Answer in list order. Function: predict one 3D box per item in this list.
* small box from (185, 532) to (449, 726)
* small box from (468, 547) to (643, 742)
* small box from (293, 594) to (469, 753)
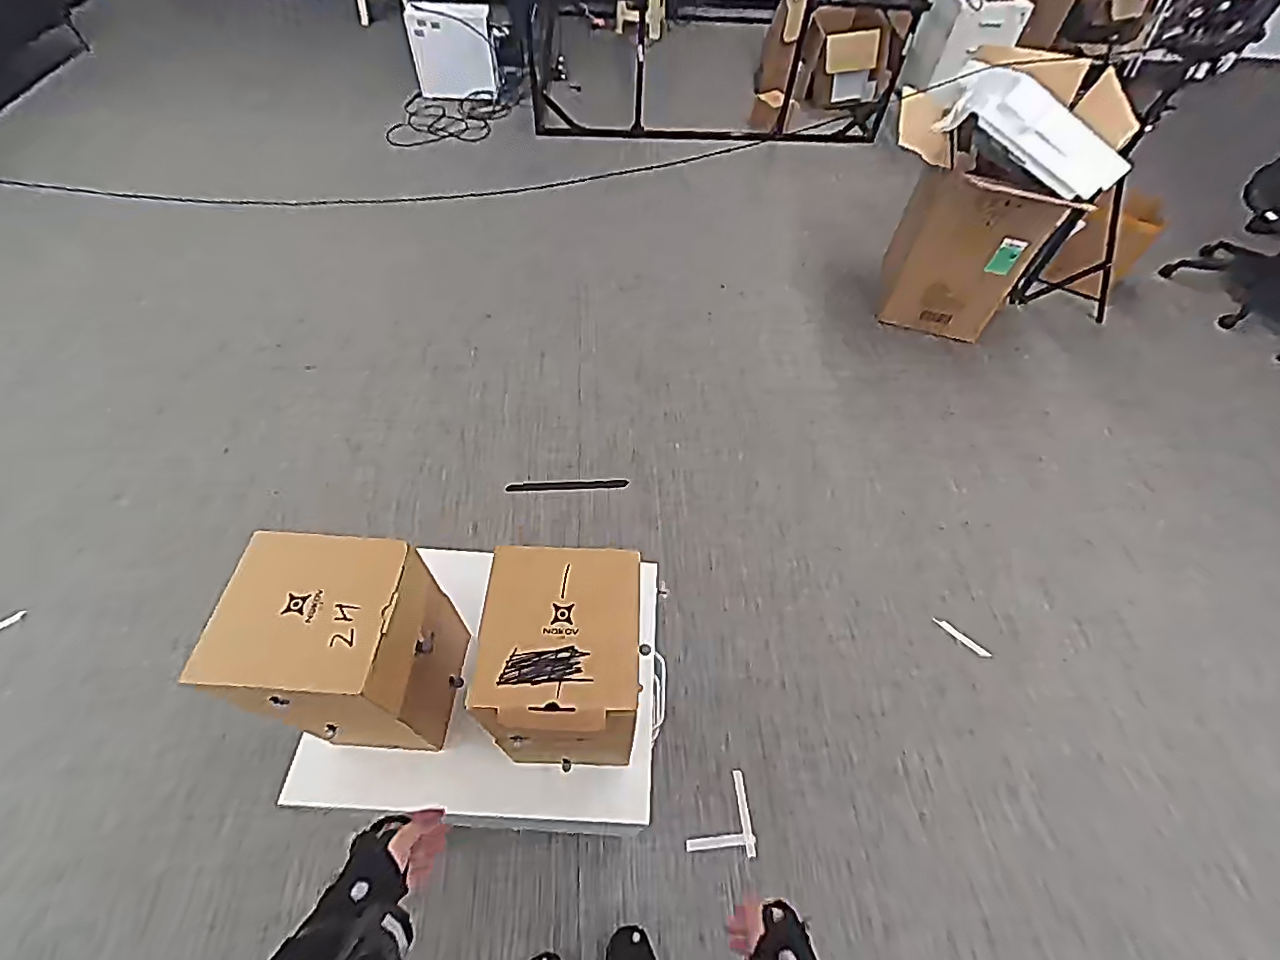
[{"bbox_3d":[-0.343,0.176,0.619,0.179,0.176,0.168,5,56,-1],"label":"small box"},{"bbox_3d":[-0.082,0.195,0.623,0.168,0.176,0.179,3,55,-1],"label":"small box"},{"bbox_3d":[-0.350,0.266,0.757,0.168,0.176,0.179,5,54,0],"label":"small box"}]
